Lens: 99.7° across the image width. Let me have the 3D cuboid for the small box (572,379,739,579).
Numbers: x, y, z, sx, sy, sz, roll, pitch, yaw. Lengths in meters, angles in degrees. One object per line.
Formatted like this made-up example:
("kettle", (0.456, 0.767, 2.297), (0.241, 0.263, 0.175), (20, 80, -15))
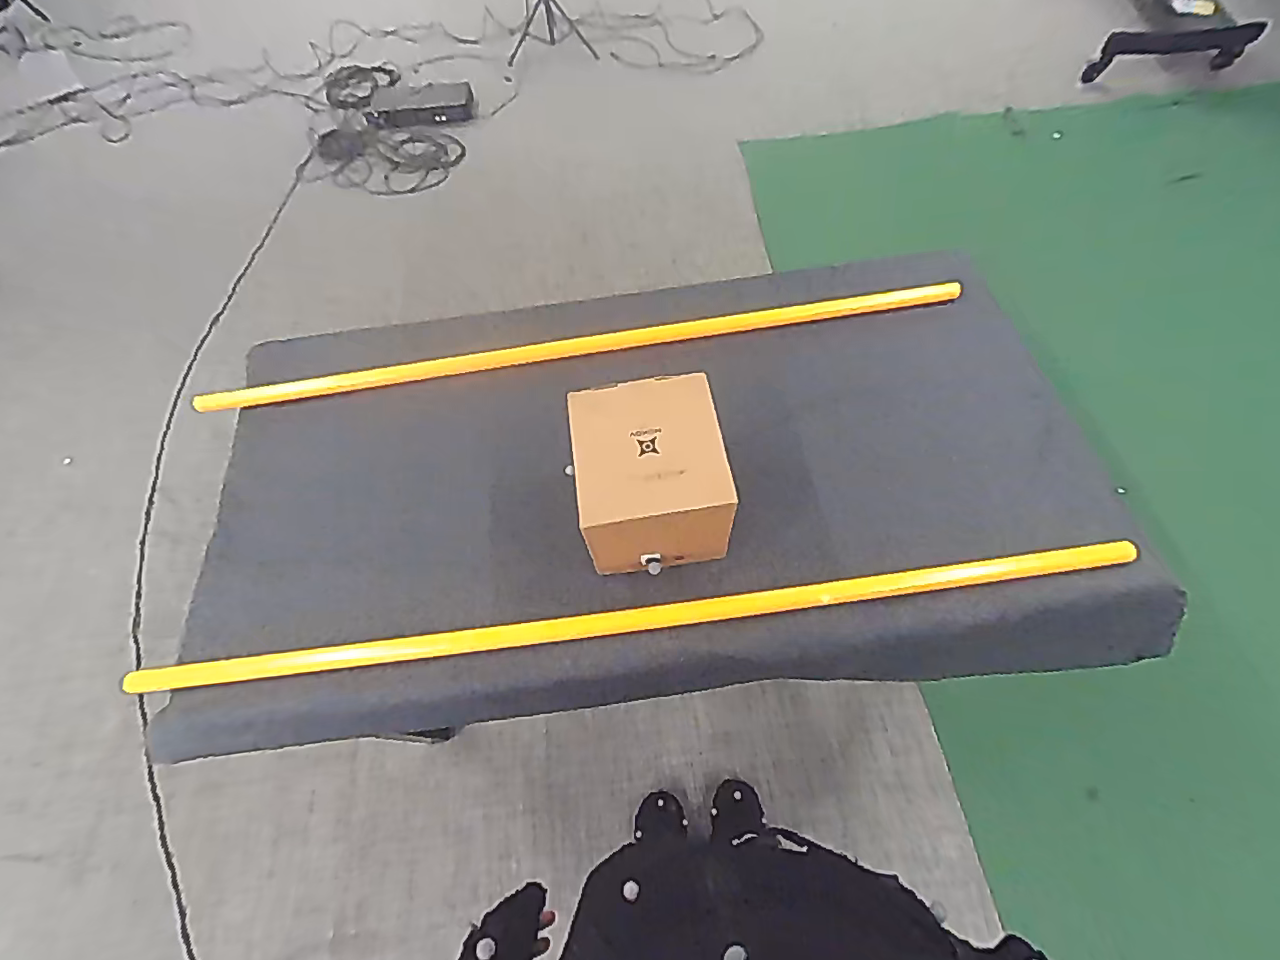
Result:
("small box", (0.016, 0.004, 0.668), (0.168, 0.176, 0.179), (-10, 62, 0))
